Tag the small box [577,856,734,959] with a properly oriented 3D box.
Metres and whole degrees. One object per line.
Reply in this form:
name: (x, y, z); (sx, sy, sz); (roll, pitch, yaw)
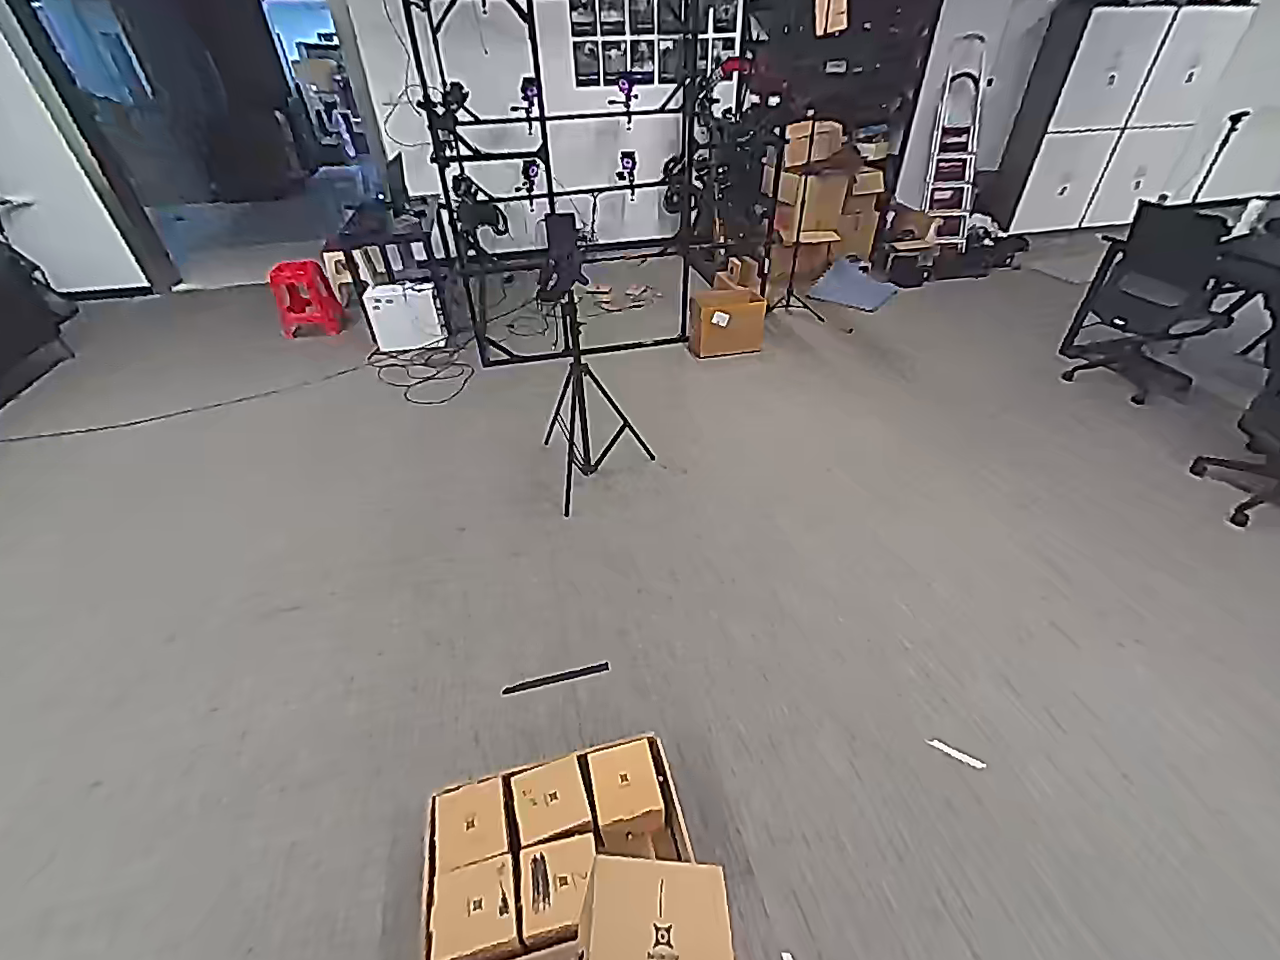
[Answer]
small box: (0.011, 0.585, 0.634); (0.168, 0.176, 0.179); (8, 28, -5)
